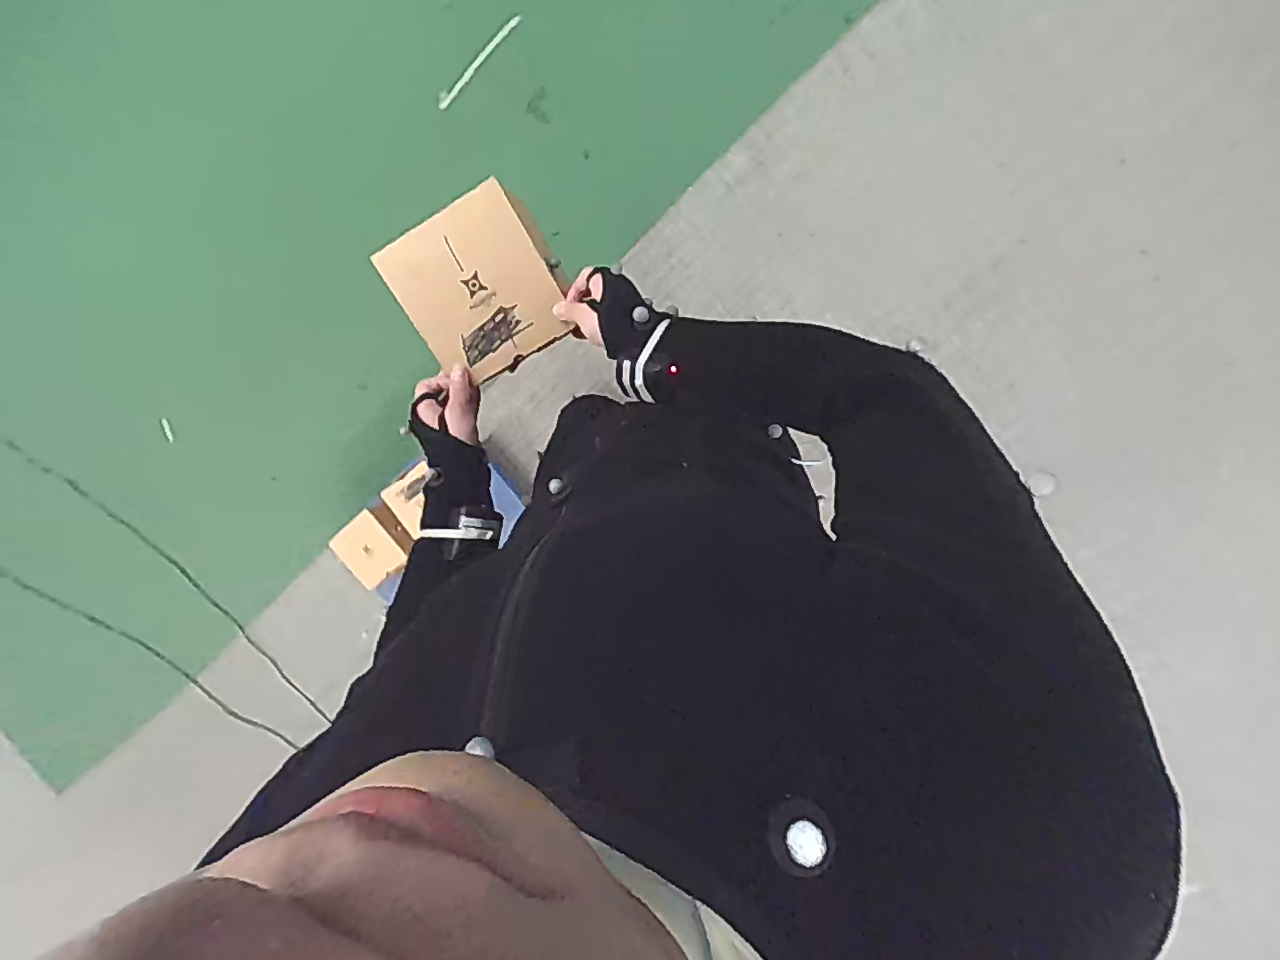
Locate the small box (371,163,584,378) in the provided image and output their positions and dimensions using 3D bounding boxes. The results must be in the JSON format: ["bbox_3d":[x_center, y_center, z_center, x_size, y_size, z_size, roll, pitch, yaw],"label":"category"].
[{"bbox_3d":[-0.180,-0.252,0.668,0.168,0.176,0.179,-26,109,7],"label":"small box"}]

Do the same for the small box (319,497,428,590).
[{"bbox_3d":[-0.739,0.171,1.521,0.168,0.176,0.179,-38,94,13],"label":"small box"}]
